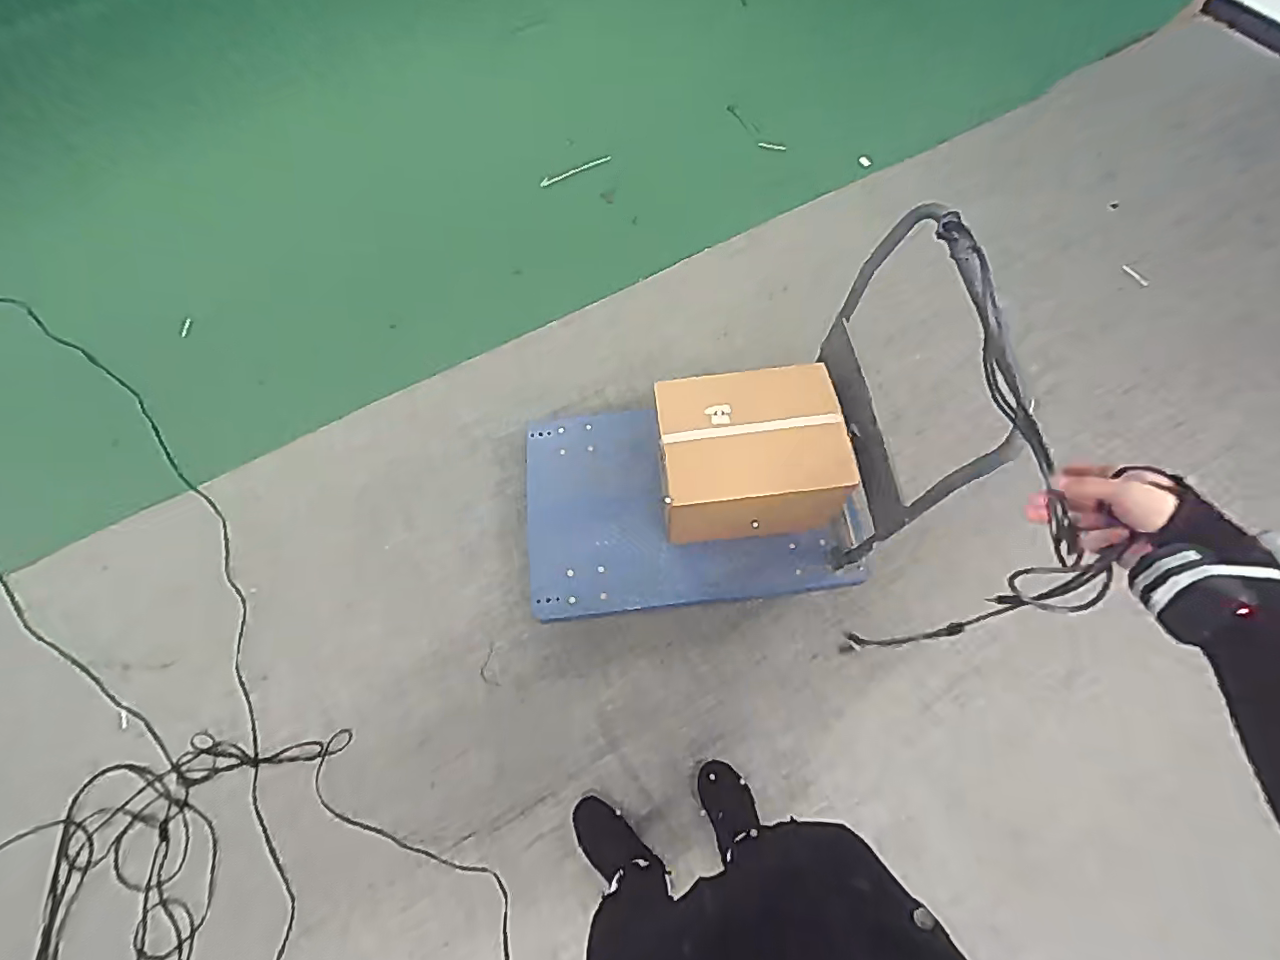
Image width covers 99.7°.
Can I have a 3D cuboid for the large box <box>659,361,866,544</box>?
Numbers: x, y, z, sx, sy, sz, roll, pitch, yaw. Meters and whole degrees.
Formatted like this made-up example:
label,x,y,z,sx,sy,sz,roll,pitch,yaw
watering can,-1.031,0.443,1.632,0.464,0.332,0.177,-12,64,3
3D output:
label,x,y,z,sx,sy,sz,roll,pitch,yaw
large box,0.269,-0.051,1.322,0.408,0.320,0.320,-8,67,1
